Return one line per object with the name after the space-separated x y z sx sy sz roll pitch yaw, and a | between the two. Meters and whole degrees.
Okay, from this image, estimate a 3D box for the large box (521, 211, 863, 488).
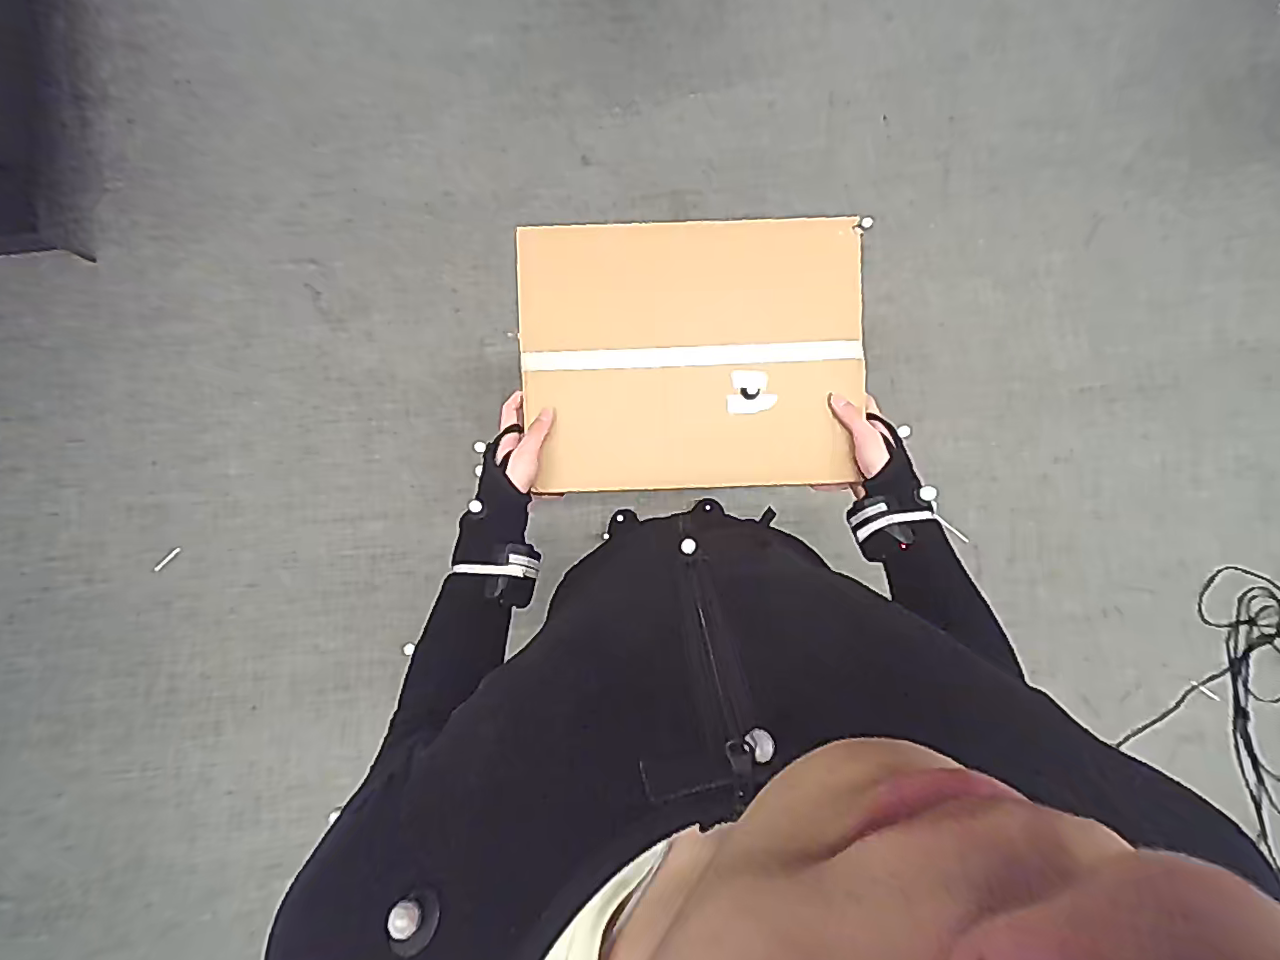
0.061 -0.162 0.794 0.408 0.320 0.320 -3 94 -1 | large box
